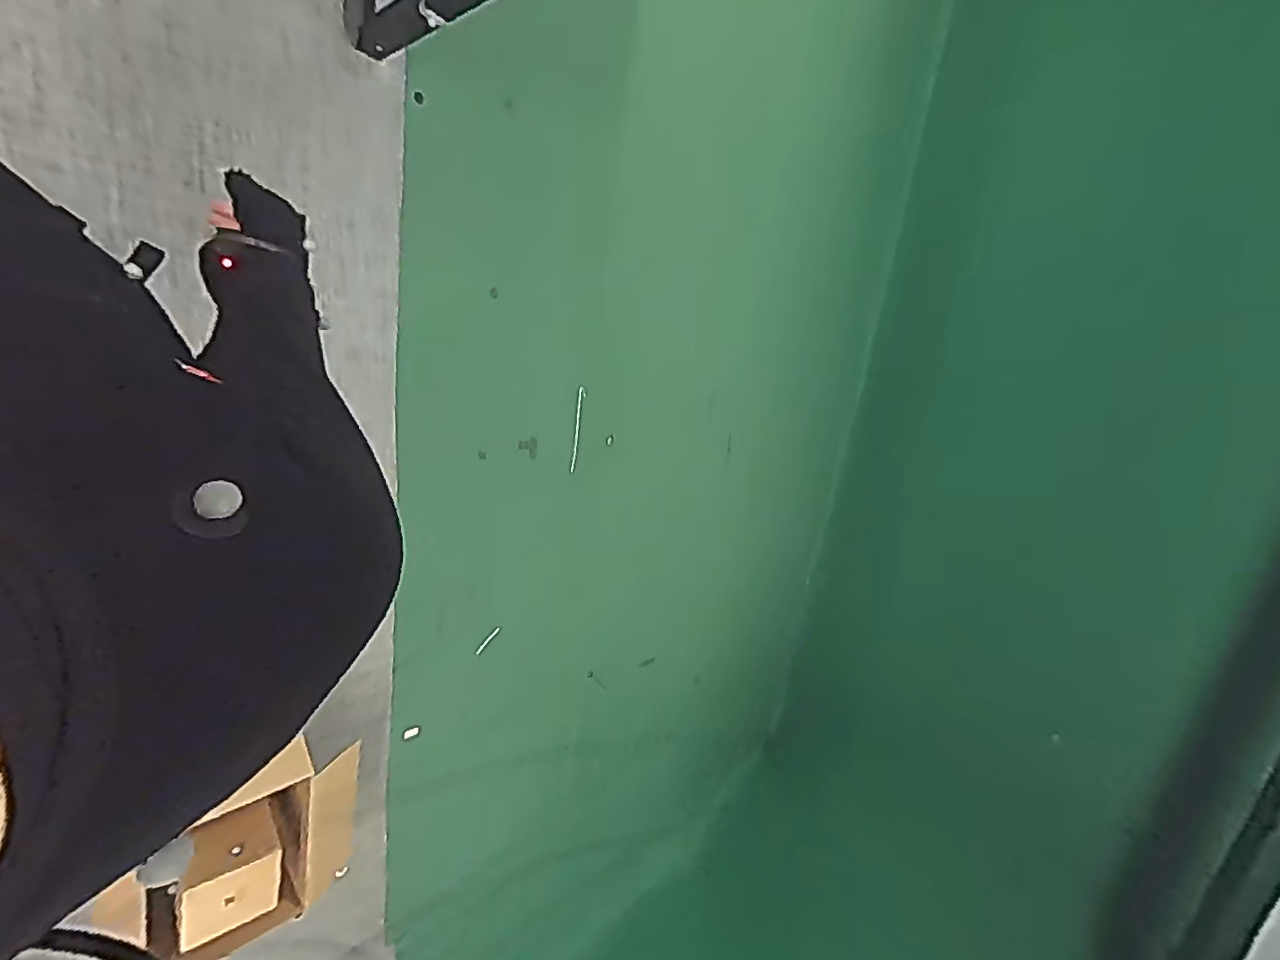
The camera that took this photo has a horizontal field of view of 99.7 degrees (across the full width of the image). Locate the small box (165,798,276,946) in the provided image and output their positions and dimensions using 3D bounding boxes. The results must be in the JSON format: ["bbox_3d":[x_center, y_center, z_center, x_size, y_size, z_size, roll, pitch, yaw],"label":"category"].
[{"bbox_3d":[-0.953,0.872,1.224,0.179,0.176,0.168,-2,108,-48],"label":"small box"}]
